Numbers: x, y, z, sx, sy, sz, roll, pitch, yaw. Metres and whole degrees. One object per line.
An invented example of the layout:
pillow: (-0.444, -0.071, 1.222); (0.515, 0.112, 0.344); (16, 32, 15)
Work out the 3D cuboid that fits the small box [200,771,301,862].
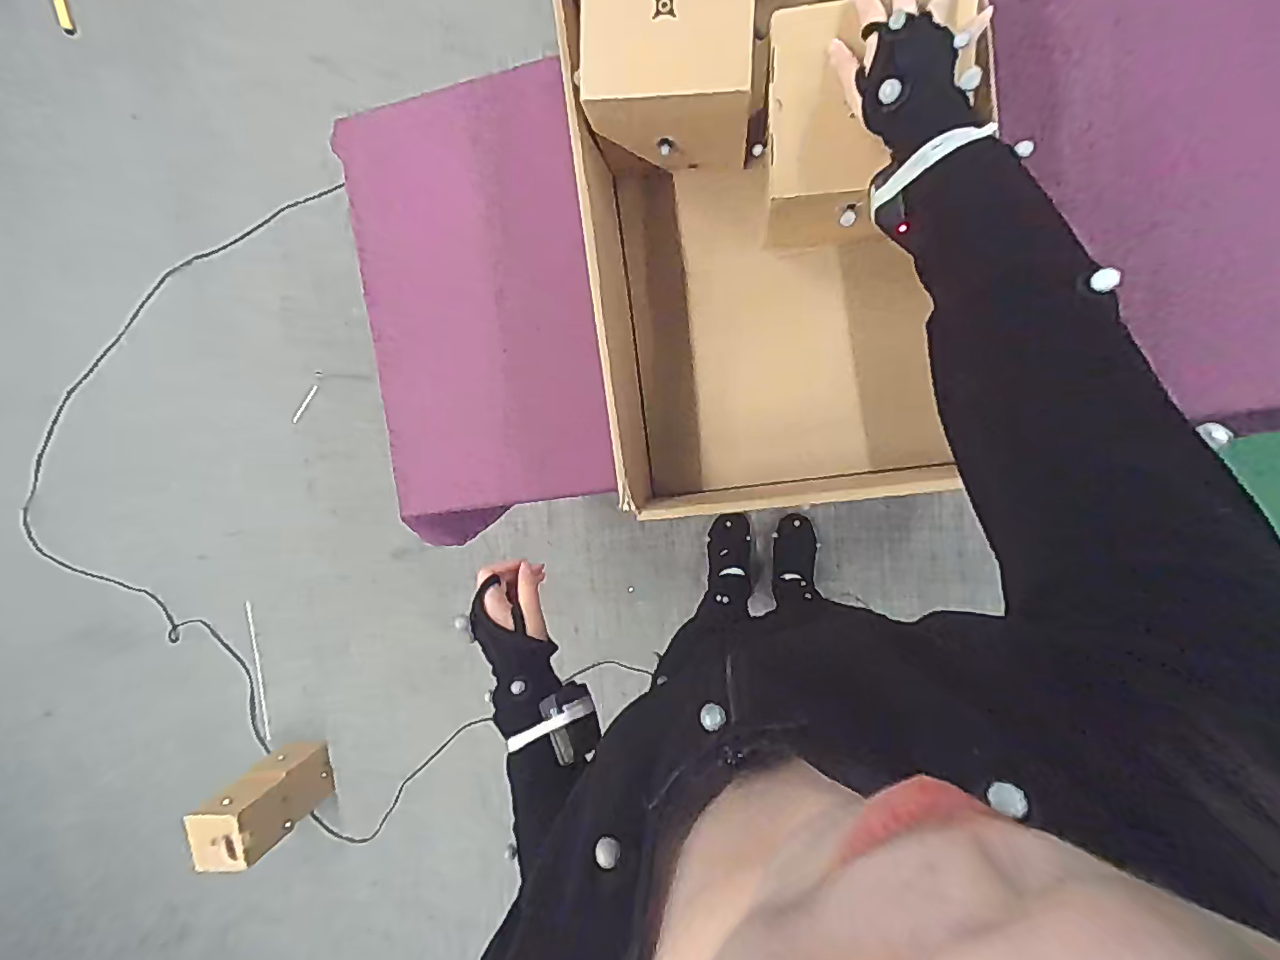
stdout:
small box: (-1.135, 0.984, 1.593); (0.179, 0.176, 0.168); (-8, 93, 13)
